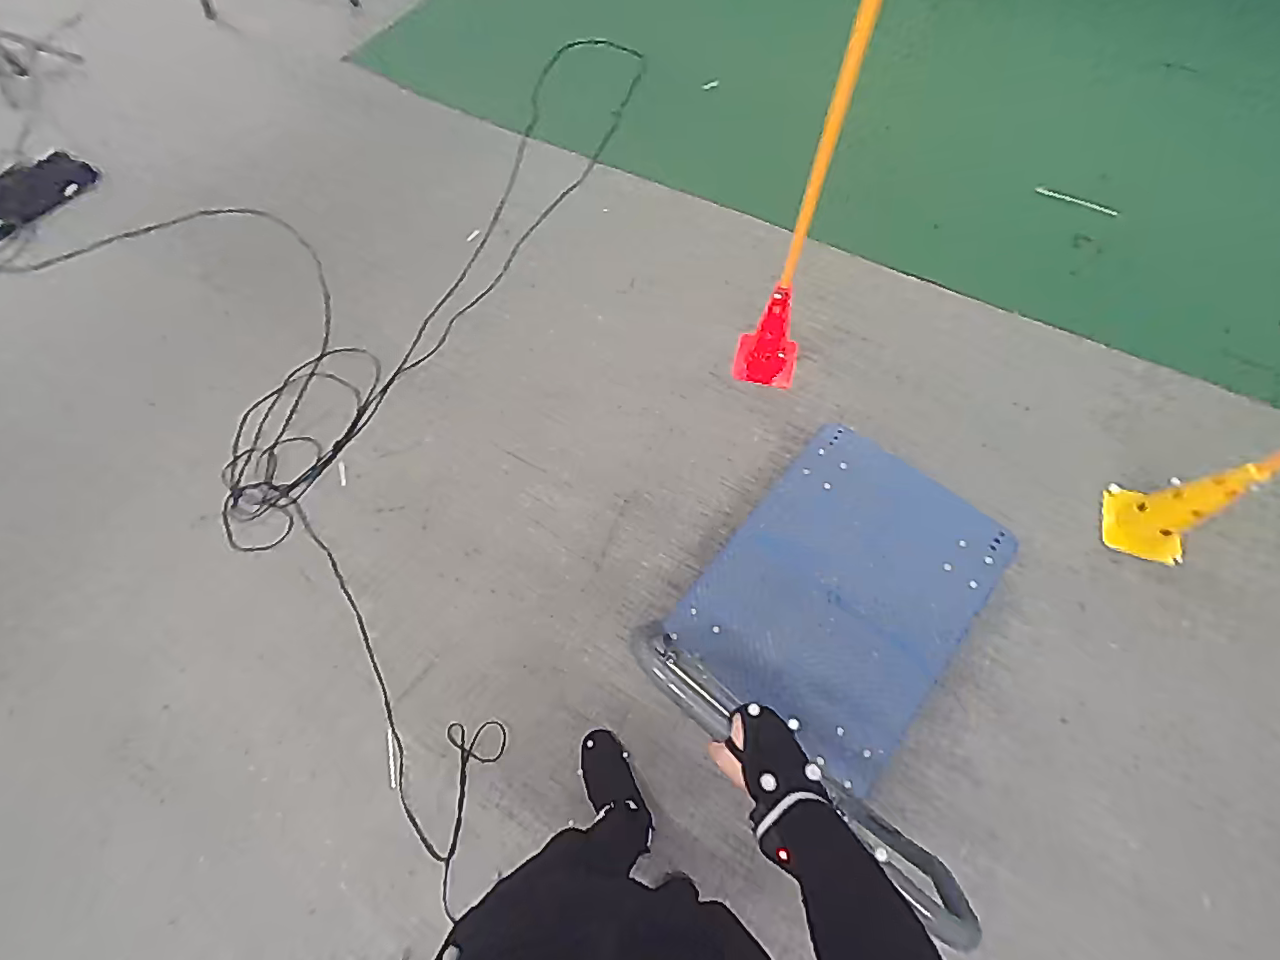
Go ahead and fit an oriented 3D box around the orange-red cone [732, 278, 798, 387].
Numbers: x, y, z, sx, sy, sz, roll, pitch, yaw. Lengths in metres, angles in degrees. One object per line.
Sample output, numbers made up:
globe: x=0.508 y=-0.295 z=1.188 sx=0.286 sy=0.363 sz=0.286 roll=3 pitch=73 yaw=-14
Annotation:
orange-red cone: x=0.415 y=-0.484 z=1.692 sx=0.199 sy=0.360 sz=0.198 roll=13 pitch=67 yaw=11
